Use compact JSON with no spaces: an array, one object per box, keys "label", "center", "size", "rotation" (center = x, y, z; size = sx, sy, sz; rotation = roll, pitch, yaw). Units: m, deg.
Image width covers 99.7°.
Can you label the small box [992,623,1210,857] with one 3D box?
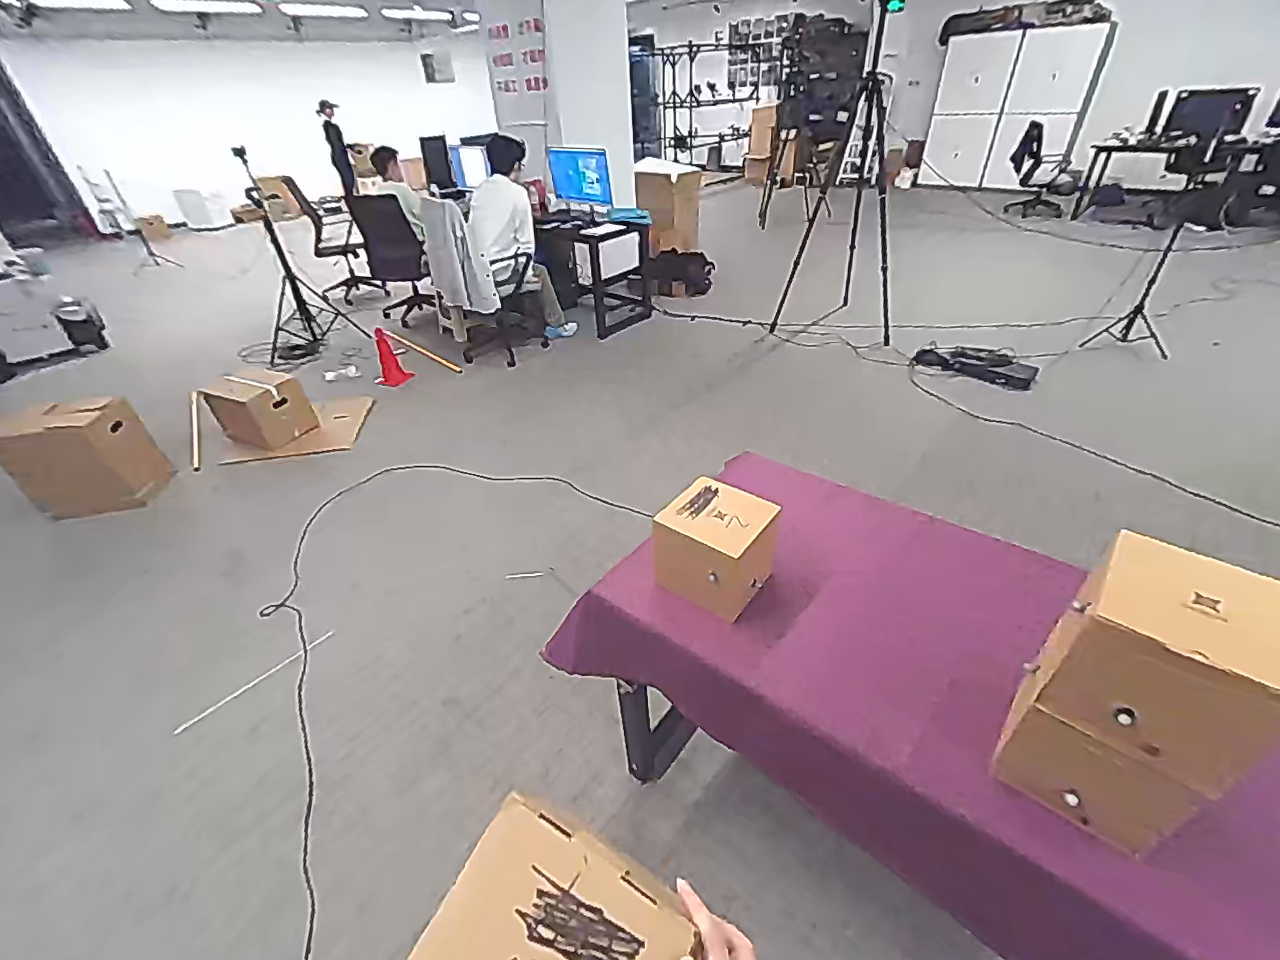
[{"label":"small box","center":[0.589,0.328,0.700],"size":[0.168,0.176,0.179],"rotation":[26,45,35]}]

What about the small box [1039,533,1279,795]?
[{"label":"small box","center":[0.584,0.197,0.603],"size":[0.168,0.176,0.179],"rotation":[26,46,34]}]
